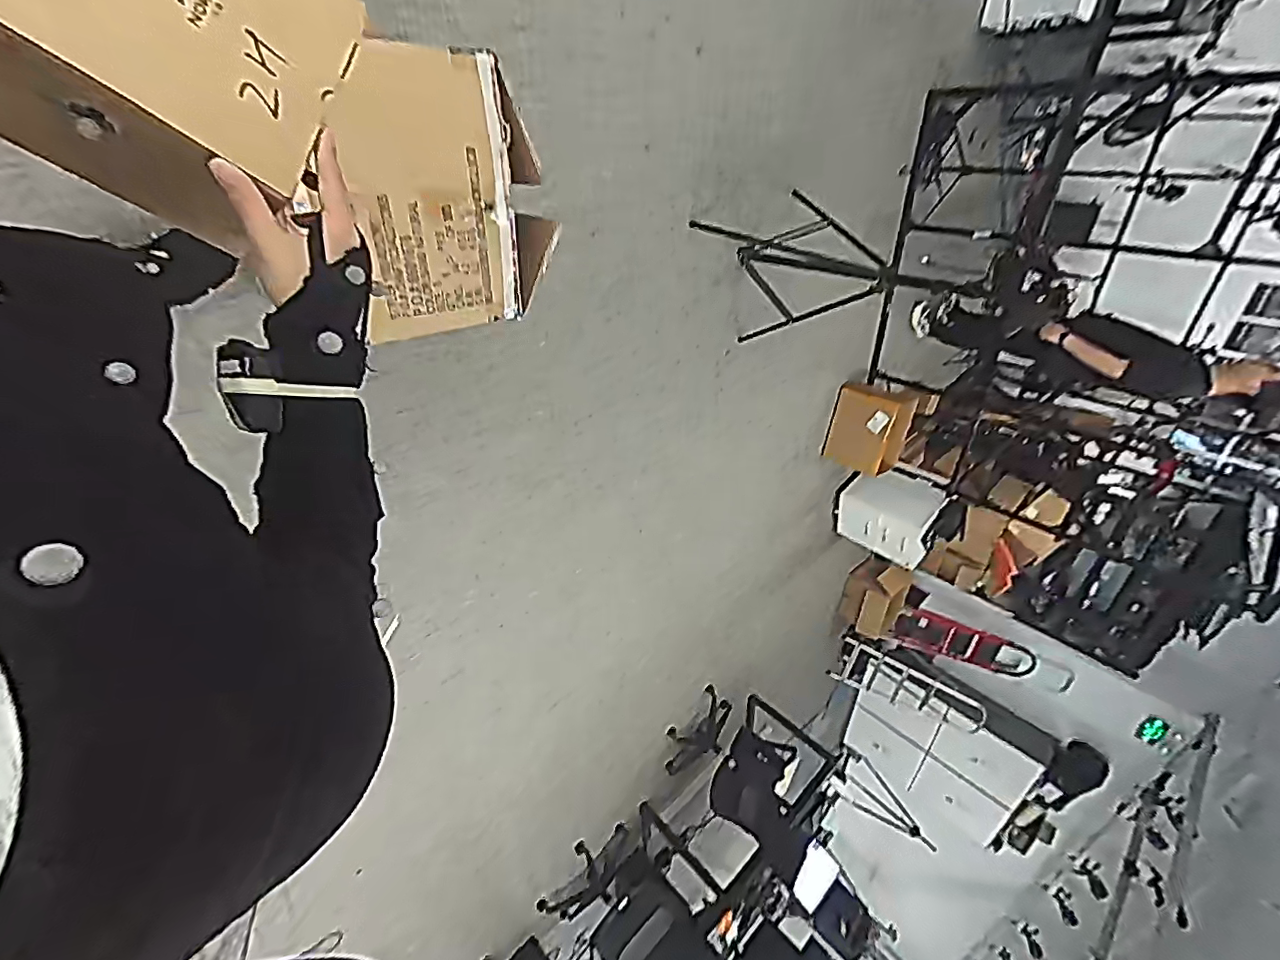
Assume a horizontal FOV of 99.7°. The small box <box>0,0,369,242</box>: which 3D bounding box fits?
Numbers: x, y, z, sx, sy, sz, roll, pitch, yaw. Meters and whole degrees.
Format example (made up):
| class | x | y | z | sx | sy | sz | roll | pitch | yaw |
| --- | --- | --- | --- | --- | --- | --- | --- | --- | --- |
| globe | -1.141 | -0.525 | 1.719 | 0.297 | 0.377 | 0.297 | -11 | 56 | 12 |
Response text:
| class | x | y | z | sx | sy | sz | roll | pitch | yaw |
| --- | --- | --- | --- | --- | --- | --- | --- | --- | --- |
| small box | -0.331 | -0.296 | 0.376 | 0.179 | 0.176 | 0.168 | 25 | 76 | -45 |
